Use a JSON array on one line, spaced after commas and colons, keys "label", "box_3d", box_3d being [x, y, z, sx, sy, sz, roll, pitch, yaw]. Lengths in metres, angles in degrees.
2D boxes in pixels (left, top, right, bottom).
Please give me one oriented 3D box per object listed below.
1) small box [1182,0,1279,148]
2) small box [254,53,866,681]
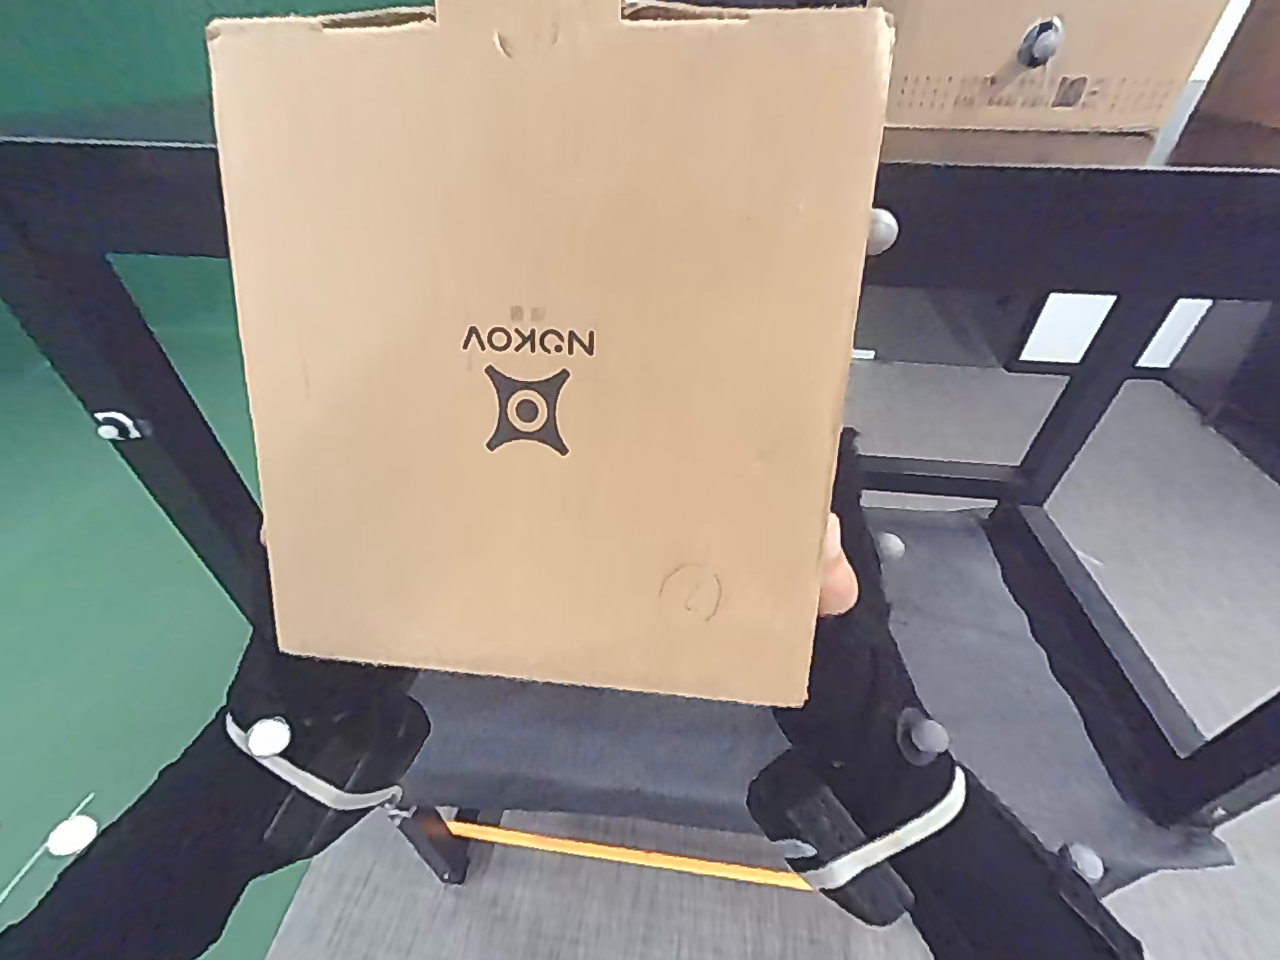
[{"label": "small box", "box_3d": [0.488, -0.290, 0.311, 0.168, 0.176, 0.179, 12, 40, 14]}, {"label": "small box", "box_3d": [-0.020, -0.044, 0.237, 0.168, 0.179, 0.176, 4, 13, 5]}]
